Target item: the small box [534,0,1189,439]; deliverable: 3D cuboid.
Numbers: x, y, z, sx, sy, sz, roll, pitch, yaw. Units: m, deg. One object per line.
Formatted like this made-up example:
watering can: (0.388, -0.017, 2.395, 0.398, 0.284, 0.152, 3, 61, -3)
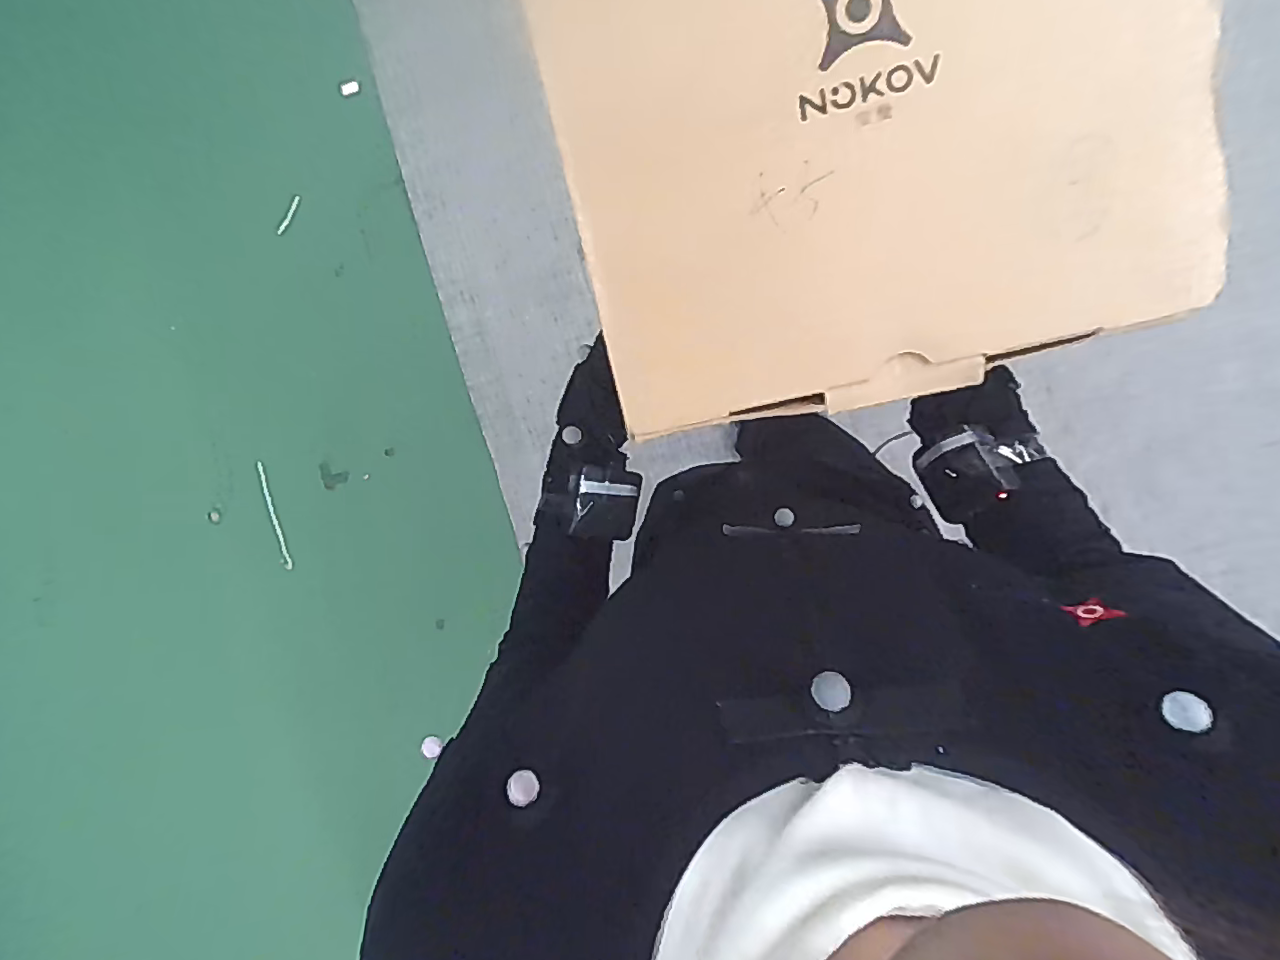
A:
small box: (0.065, -0.130, 0.227, 0.168, 0.176, 0.179, -12, 102, 7)
